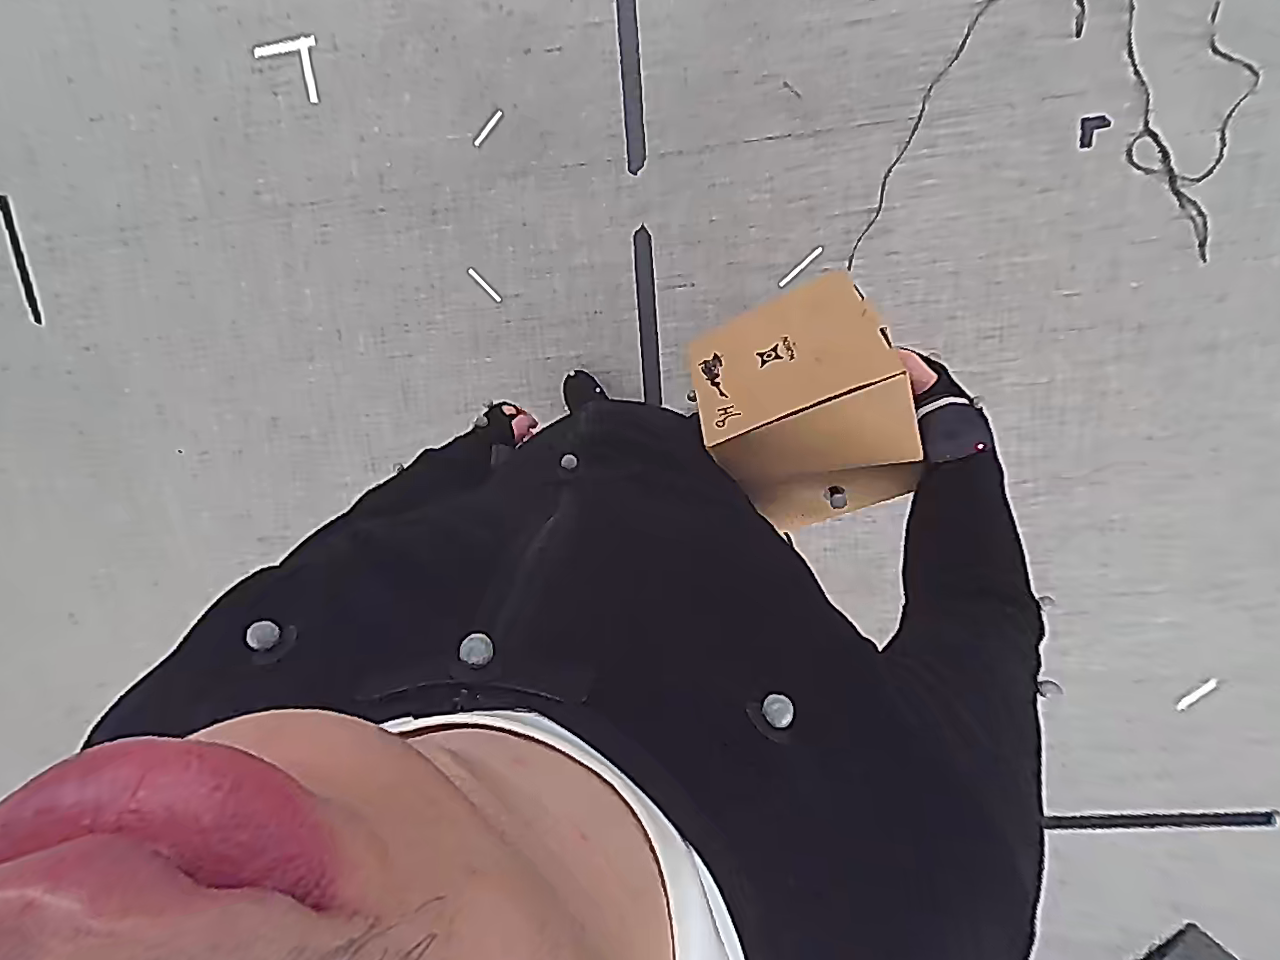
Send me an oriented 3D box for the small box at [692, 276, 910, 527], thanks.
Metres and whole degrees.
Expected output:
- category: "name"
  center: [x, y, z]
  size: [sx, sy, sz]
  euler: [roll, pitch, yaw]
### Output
- category: "small box"
  center: [0.174, -0.076, 0.582]
  size: [0.179, 0.168, 0.176]
  euler: [-21, 136, 19]
